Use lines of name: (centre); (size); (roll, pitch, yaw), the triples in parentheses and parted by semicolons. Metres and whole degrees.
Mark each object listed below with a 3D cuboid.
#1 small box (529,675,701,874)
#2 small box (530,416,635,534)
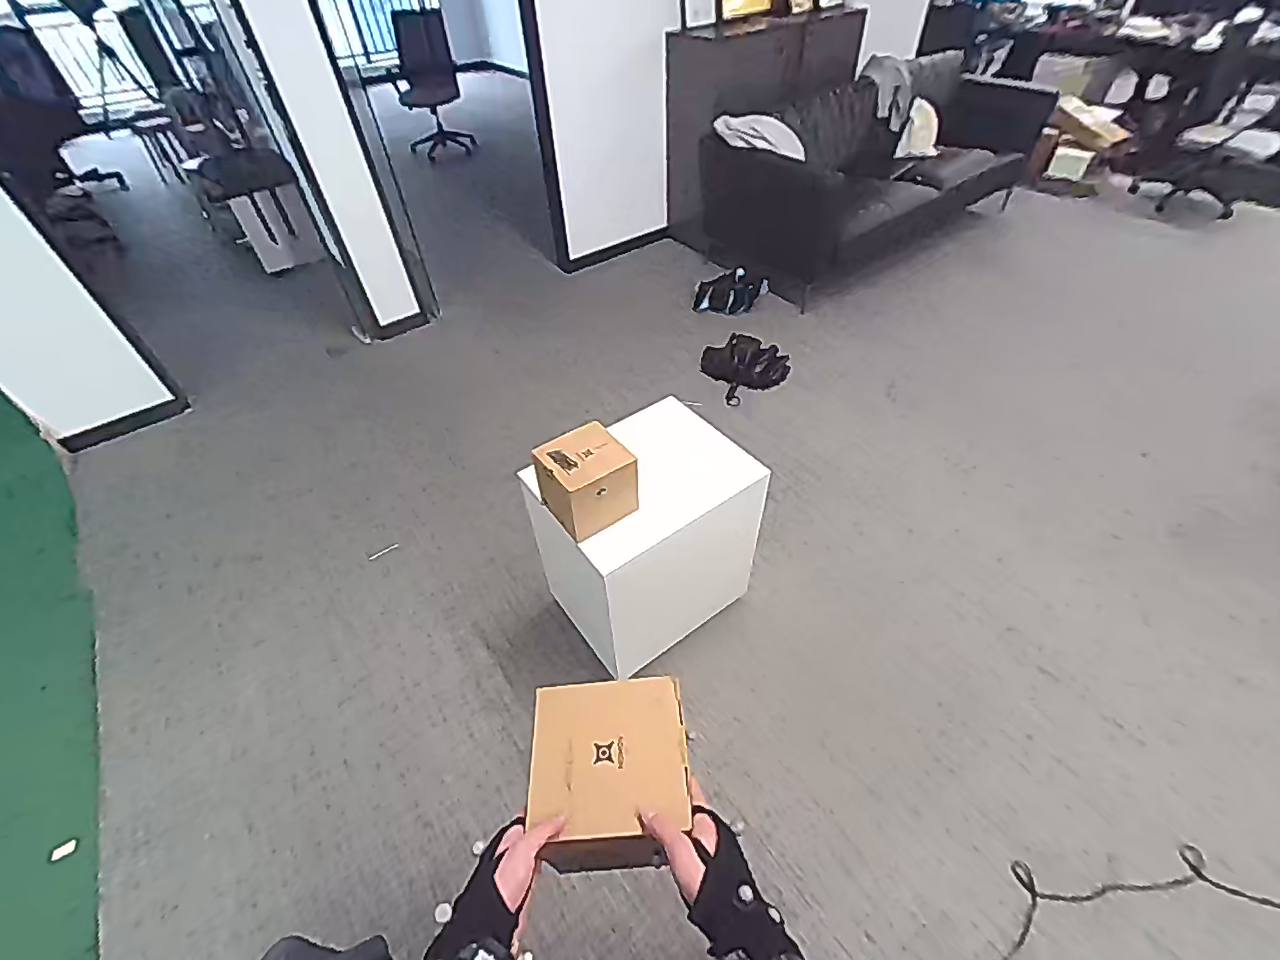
small box: (-0.023, 0.356, 0.652); (0.179, 0.176, 0.168); (-7, 45, 2)
small box: (-0.123, -0.009, 1.219); (0.179, 0.176, 0.168); (-28, 52, -25)
